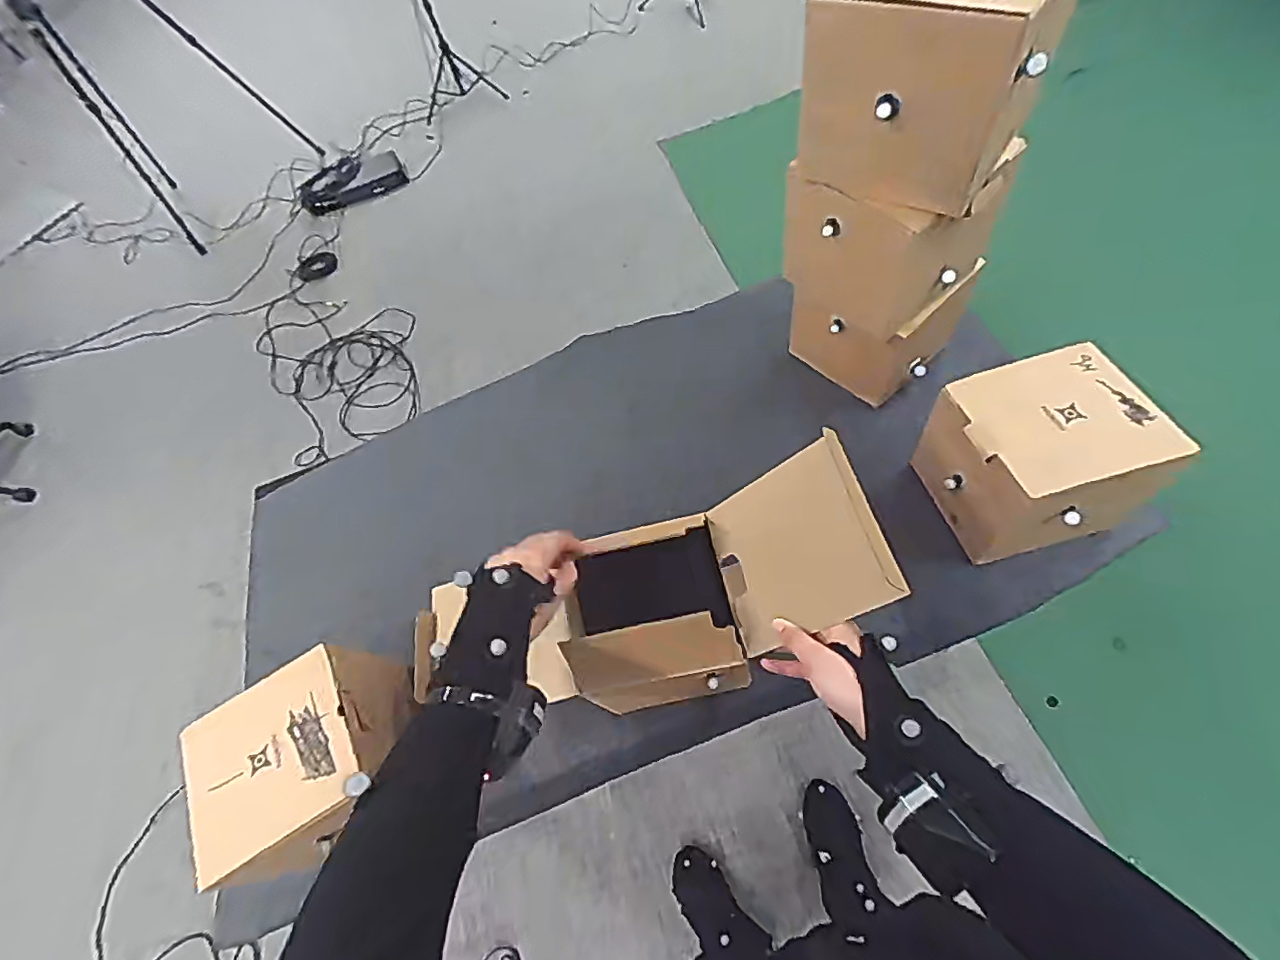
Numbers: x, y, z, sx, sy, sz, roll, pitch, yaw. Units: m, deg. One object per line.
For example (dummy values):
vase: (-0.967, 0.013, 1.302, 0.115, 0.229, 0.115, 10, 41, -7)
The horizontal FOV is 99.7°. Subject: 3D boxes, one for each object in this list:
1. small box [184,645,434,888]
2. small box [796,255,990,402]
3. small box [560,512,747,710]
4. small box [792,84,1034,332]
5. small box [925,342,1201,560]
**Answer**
small box: (-0.364, 0.318, 0.624, 0.179, 0.176, 0.168, -31, 62, -6)
small box: (0.345, -0.246, 0.781, 0.168, 0.176, 0.179, -41, 64, -9)
small box: (0.021, 0.162, 0.634, 0.179, 0.176, 0.168, -14, 61, 3)
small box: (0.296, -0.311, 0.637, 0.168, 0.176, 0.179, -39, 63, -6)
small box: (0.464, -0.025, 0.638, 0.179, 0.176, 0.168, -17, 57, 3)
